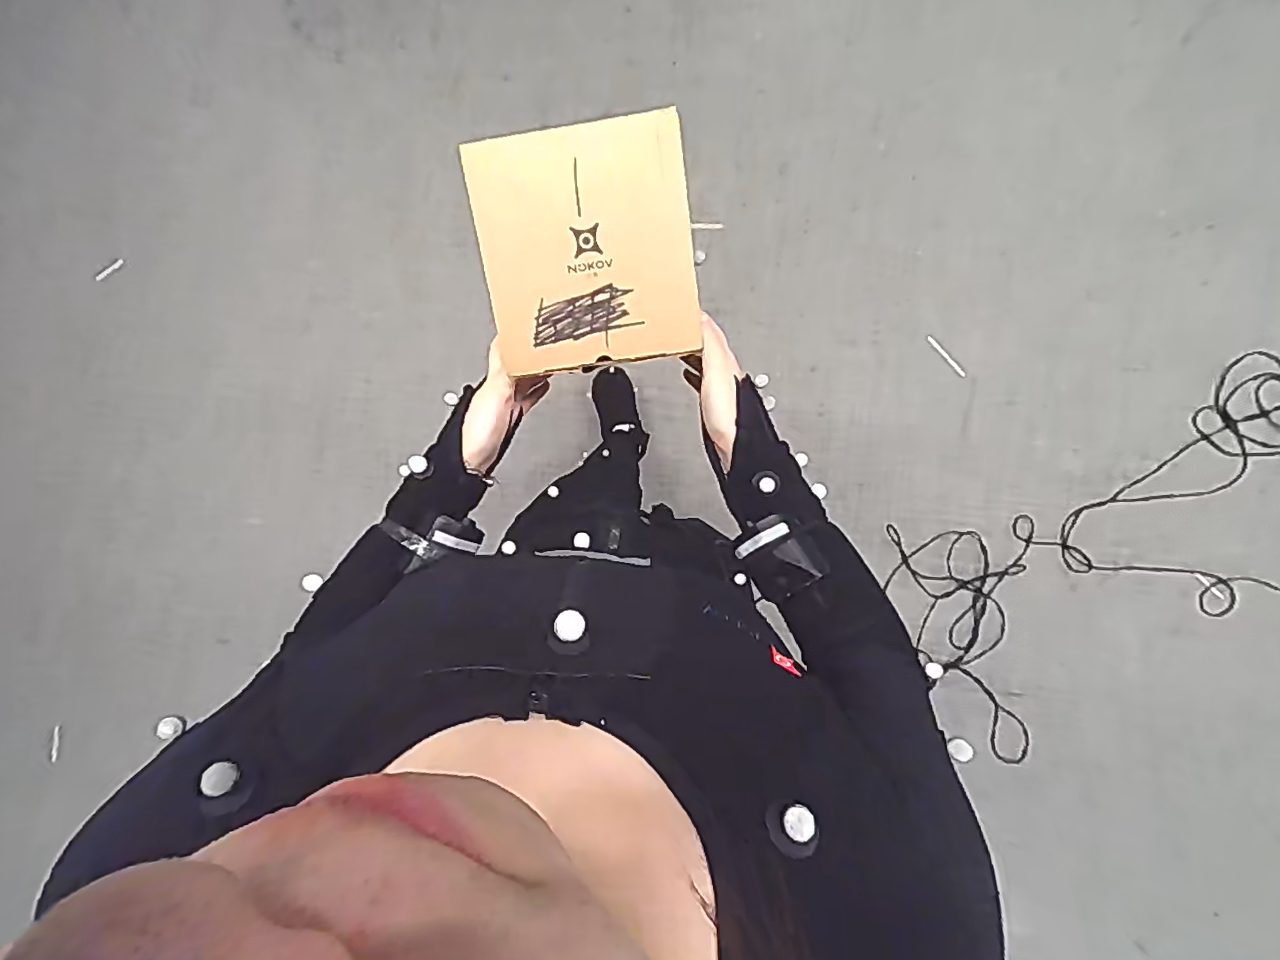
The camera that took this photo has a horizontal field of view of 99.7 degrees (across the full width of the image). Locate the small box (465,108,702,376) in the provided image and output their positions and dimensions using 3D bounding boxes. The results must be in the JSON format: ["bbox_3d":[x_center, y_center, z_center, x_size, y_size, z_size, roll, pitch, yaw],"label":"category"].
[{"bbox_3d":[-0.036,-0.203,0.495,0.168,0.176,0.179,-7,107,4],"label":"small box"}]
